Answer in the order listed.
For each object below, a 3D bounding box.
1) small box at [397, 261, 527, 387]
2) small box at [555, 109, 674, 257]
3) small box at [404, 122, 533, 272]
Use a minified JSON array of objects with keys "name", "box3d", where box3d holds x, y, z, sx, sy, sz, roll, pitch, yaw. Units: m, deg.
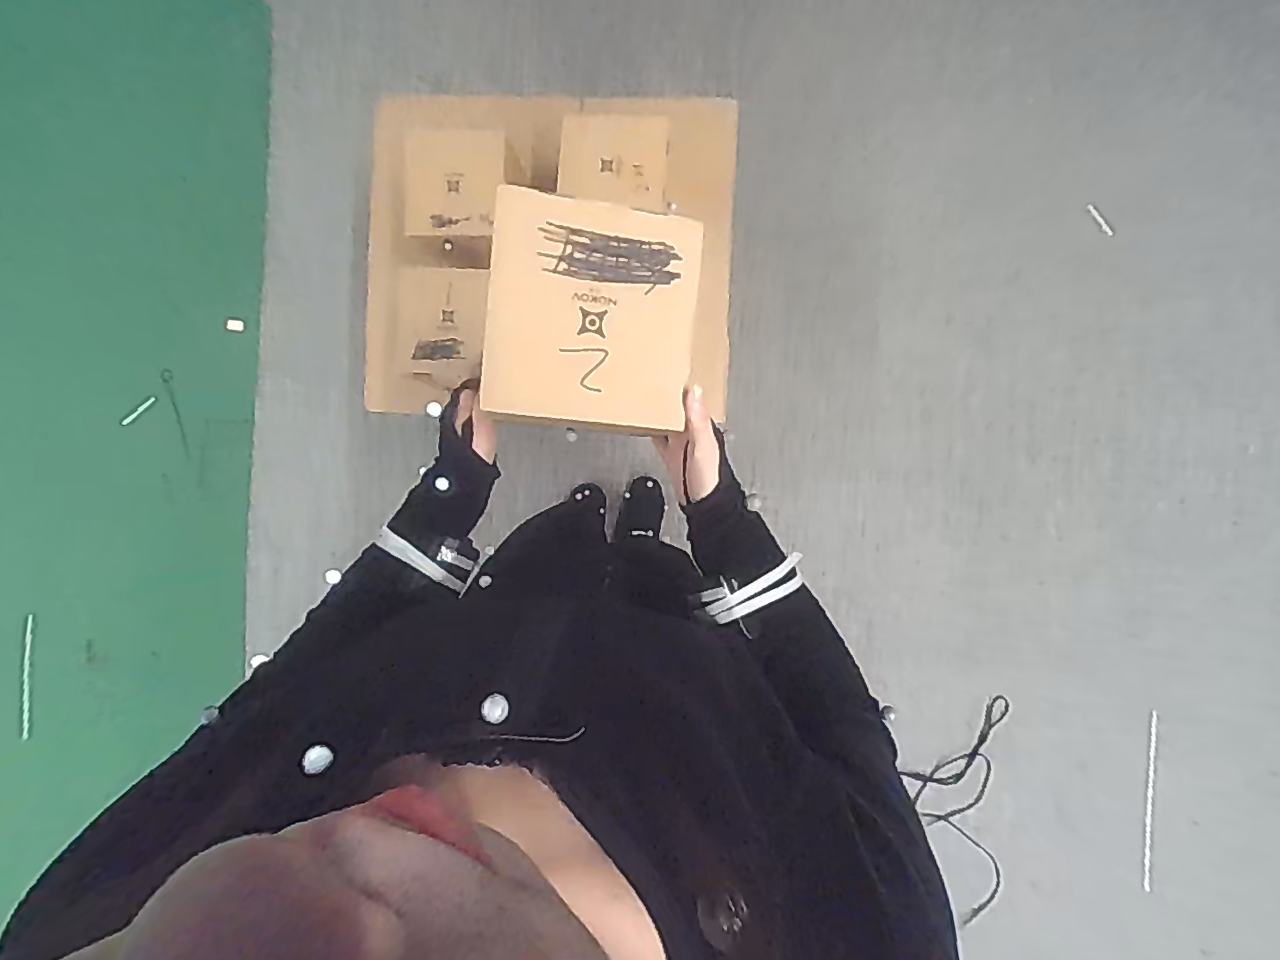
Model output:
[{"name":"small box","box3d":[-0.302,-0.262,0.947,0.168,0.176,0.179,4,90,3]},{"name":"small box","box3d":[-0.036,-0.500,0.932,0.179,0.176,0.168,5,91,4]},{"name":"small box","box3d":[-0.289,-0.484,0.942,0.168,0.176,0.179,1,89,4]}]
